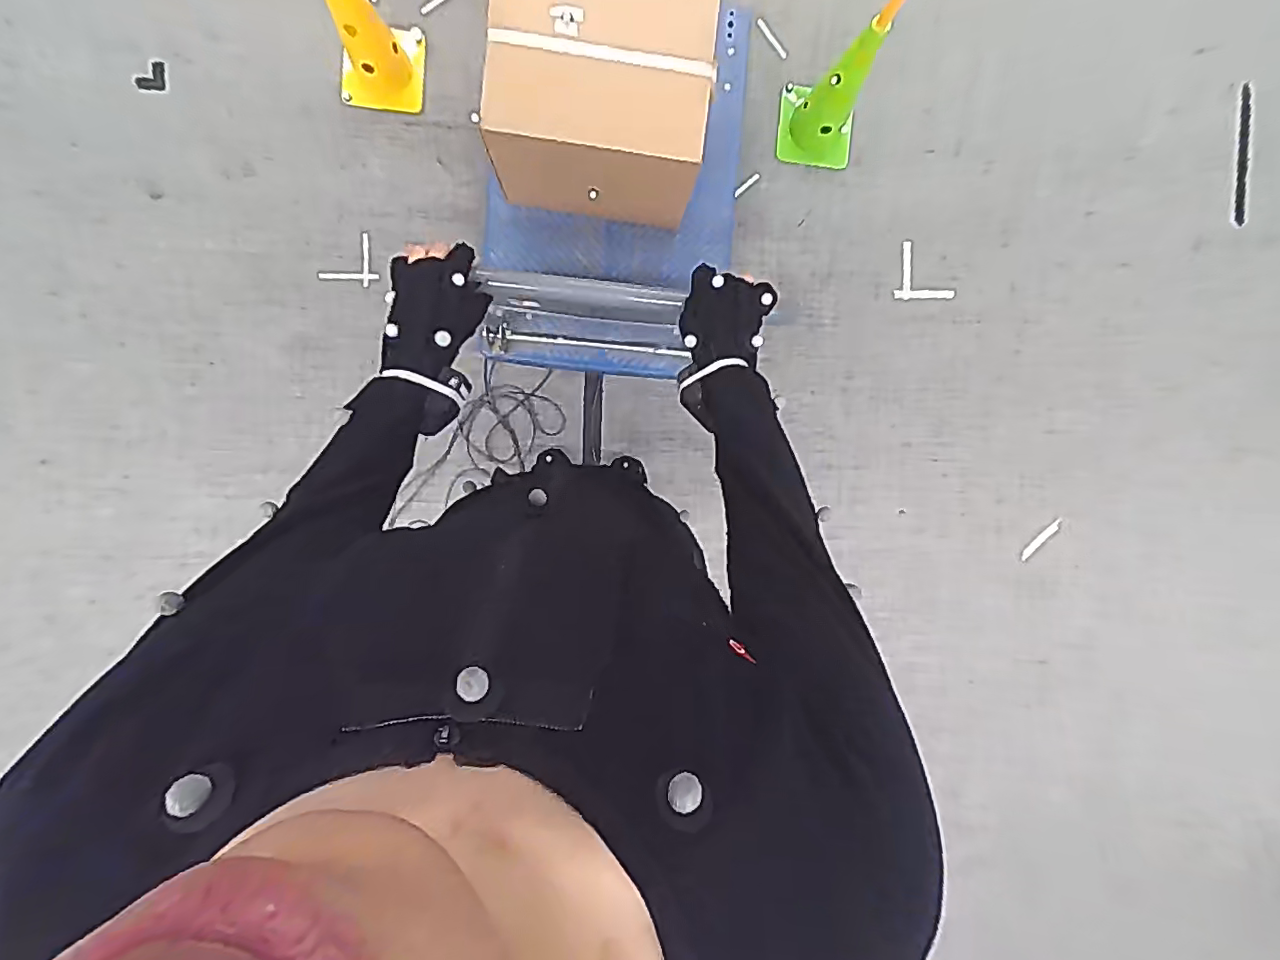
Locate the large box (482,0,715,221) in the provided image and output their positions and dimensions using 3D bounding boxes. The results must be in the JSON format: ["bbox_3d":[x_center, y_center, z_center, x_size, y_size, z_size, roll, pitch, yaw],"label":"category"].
[{"bbox_3d":[-0.079,-0.771,1.120,0.408,0.320,0.320,7,93,-3],"label":"large box"}]

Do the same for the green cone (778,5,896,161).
[{"bbox_3d":[0.489,-0.964,1.288,0.202,0.368,0.200,5,93,-5],"label":"green cone"}]
